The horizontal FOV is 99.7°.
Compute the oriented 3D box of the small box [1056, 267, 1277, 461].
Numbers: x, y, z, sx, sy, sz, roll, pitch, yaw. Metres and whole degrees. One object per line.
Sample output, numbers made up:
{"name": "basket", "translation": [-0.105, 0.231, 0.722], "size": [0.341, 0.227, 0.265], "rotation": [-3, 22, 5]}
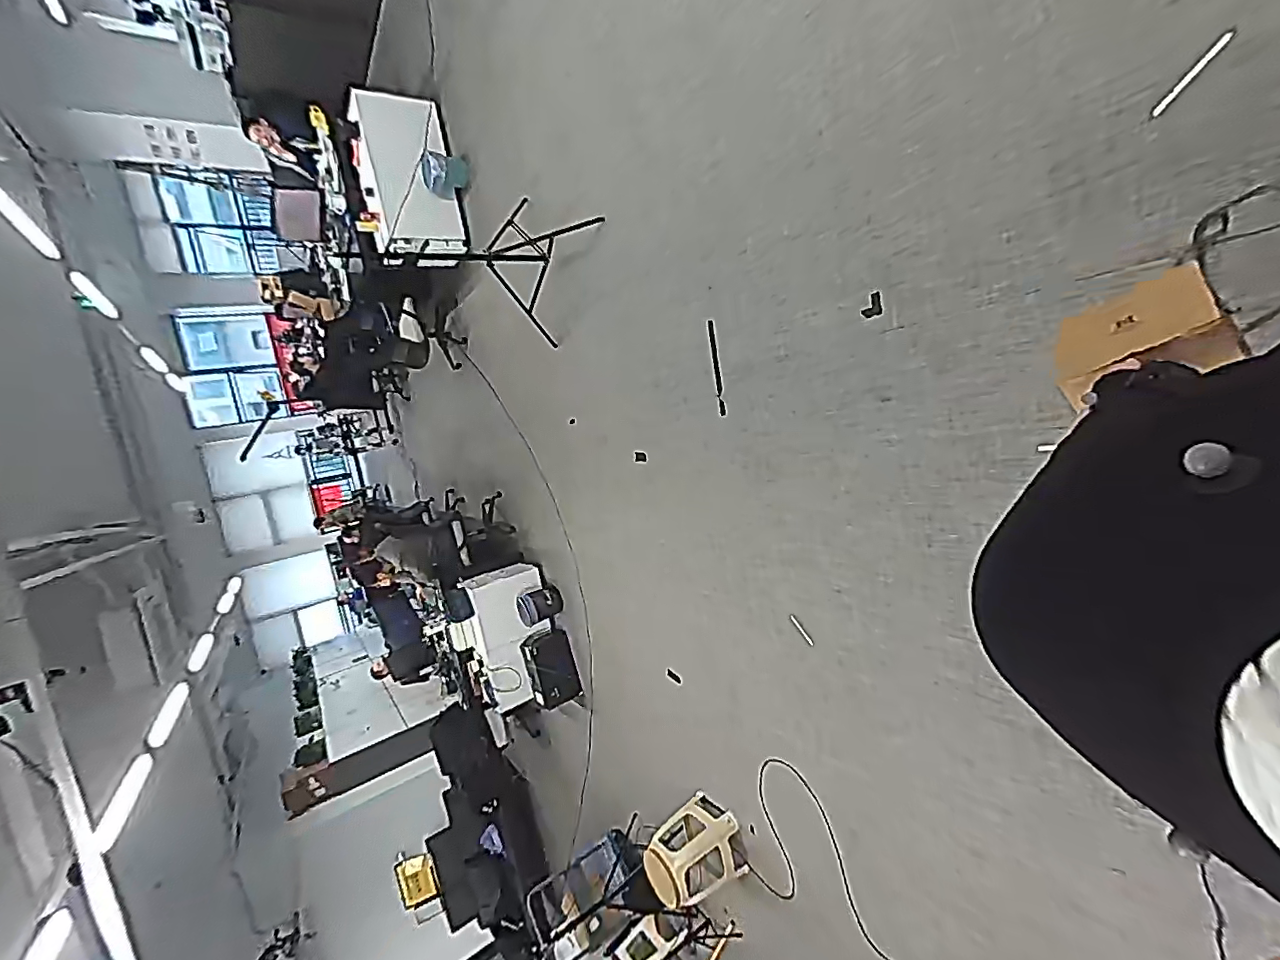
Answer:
{"name": "small box", "translation": [0.709, -0.146, 0.742], "size": [0.176, 0.179, 0.168], "rotation": [47, 141, -12]}
